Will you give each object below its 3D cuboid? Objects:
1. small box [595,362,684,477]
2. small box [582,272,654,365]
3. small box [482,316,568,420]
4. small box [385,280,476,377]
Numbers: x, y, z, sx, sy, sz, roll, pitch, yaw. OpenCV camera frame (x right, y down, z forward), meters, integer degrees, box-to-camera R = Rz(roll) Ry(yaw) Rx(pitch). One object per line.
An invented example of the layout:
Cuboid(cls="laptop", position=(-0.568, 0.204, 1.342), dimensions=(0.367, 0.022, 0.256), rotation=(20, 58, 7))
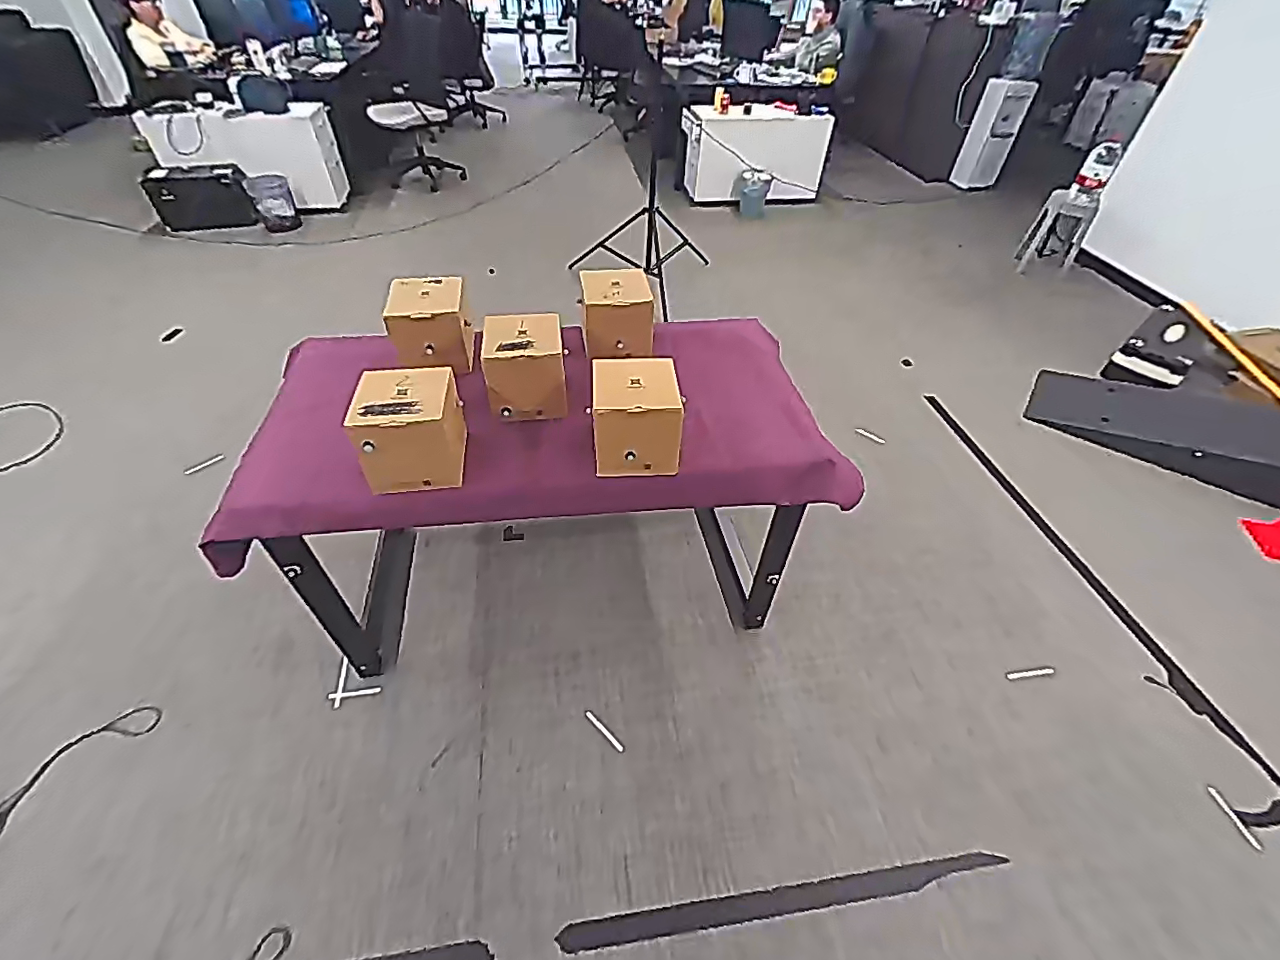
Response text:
Cuboid(cls="small box", position=(-0.008, -0.125, 1.103), dimensions=(0.168, 0.176, 0.179), rotation=(-2, 44, -4))
Cuboid(cls="small box", position=(-0.061, -0.414, 1.387), dimensions=(0.168, 0.176, 0.179), rotation=(-6, 47, -7))
Cuboid(cls="small box", position=(-0.252, -0.247, 1.216), dimensions=(0.168, 0.176, 0.179), rotation=(-5, 45, -7))
Cuboid(cls="small box", position=(-0.501, -0.364, 1.318), dimensions=(0.168, 0.176, 0.179), rotation=(-5, 48, -8))
